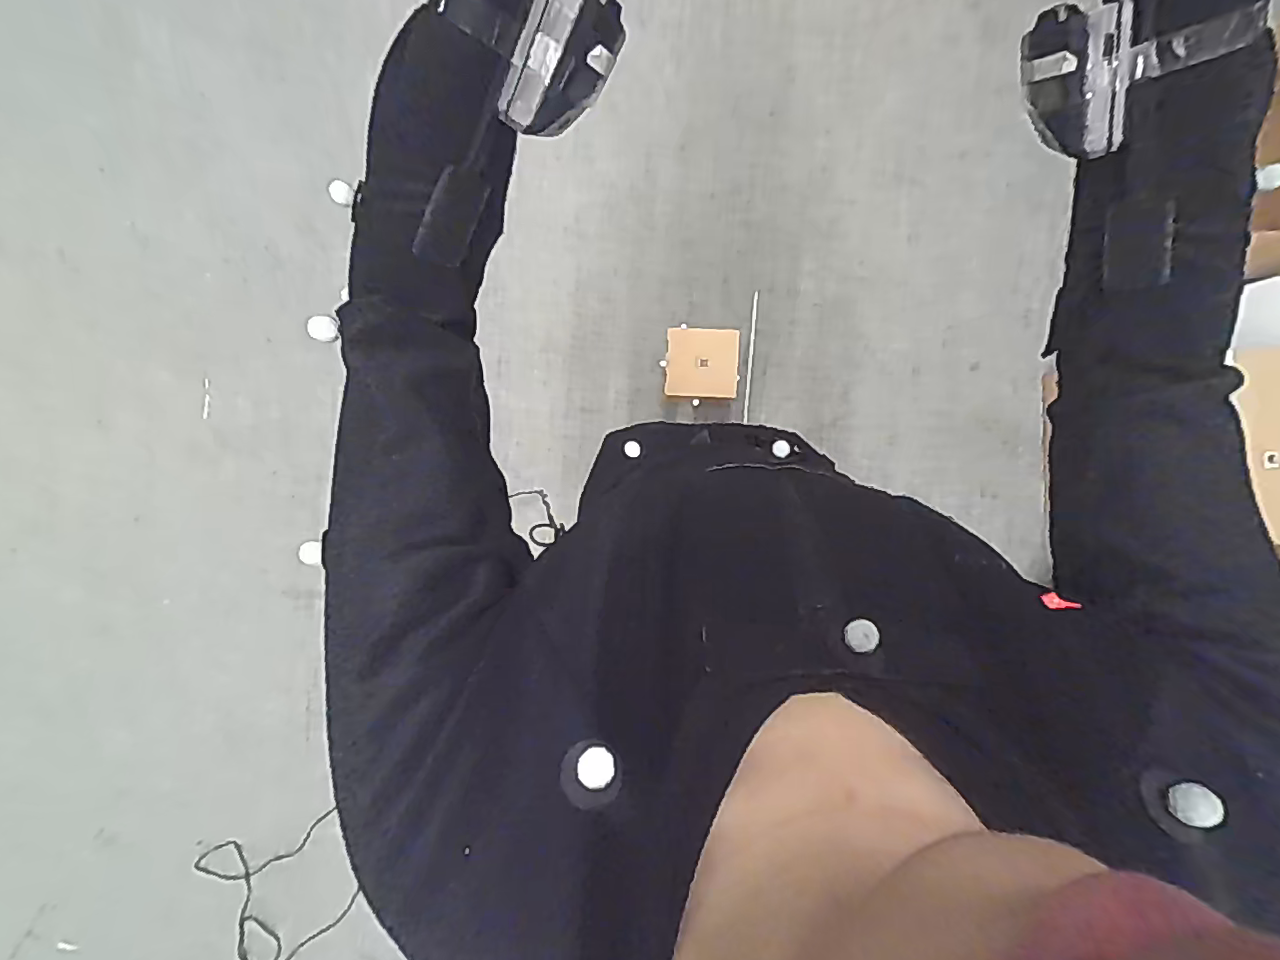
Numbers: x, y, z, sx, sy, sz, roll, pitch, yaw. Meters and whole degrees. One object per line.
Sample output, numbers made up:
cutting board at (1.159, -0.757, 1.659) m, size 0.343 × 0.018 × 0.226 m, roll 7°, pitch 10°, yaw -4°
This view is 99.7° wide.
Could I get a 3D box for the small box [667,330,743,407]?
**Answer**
small box at (0.159, -0.278, 1.377) m, size 0.179 × 0.176 × 0.168 m, roll 3°, pitch 92°, yaw 4°
